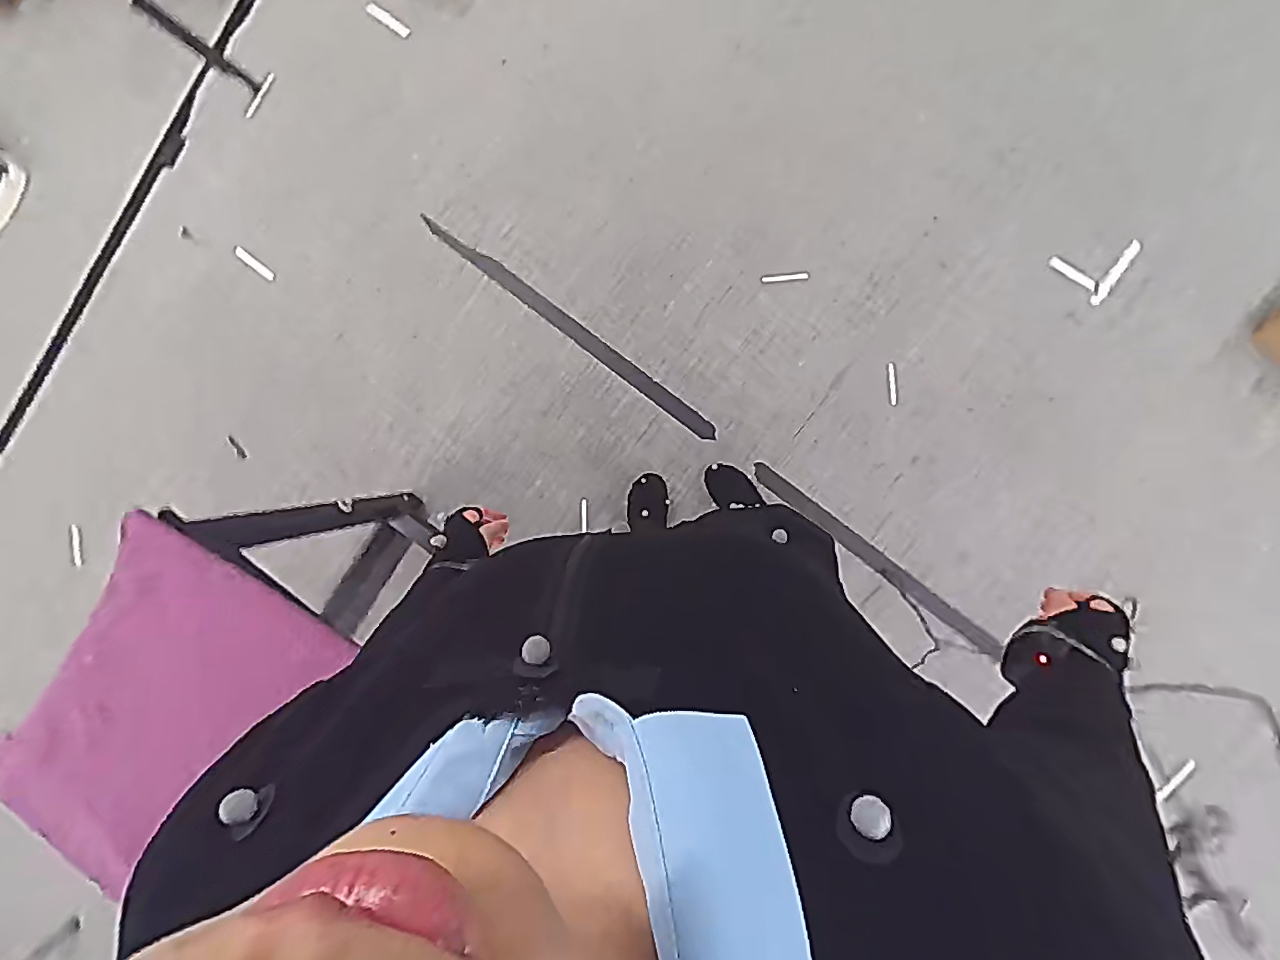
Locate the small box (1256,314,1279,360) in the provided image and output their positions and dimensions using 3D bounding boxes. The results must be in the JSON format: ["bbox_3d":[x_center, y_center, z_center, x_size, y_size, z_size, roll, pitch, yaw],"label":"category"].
[{"bbox_3d":[1.579,-0.341,1.210,0.168,0.176,0.179,-45,87,7],"label":"small box"}]
